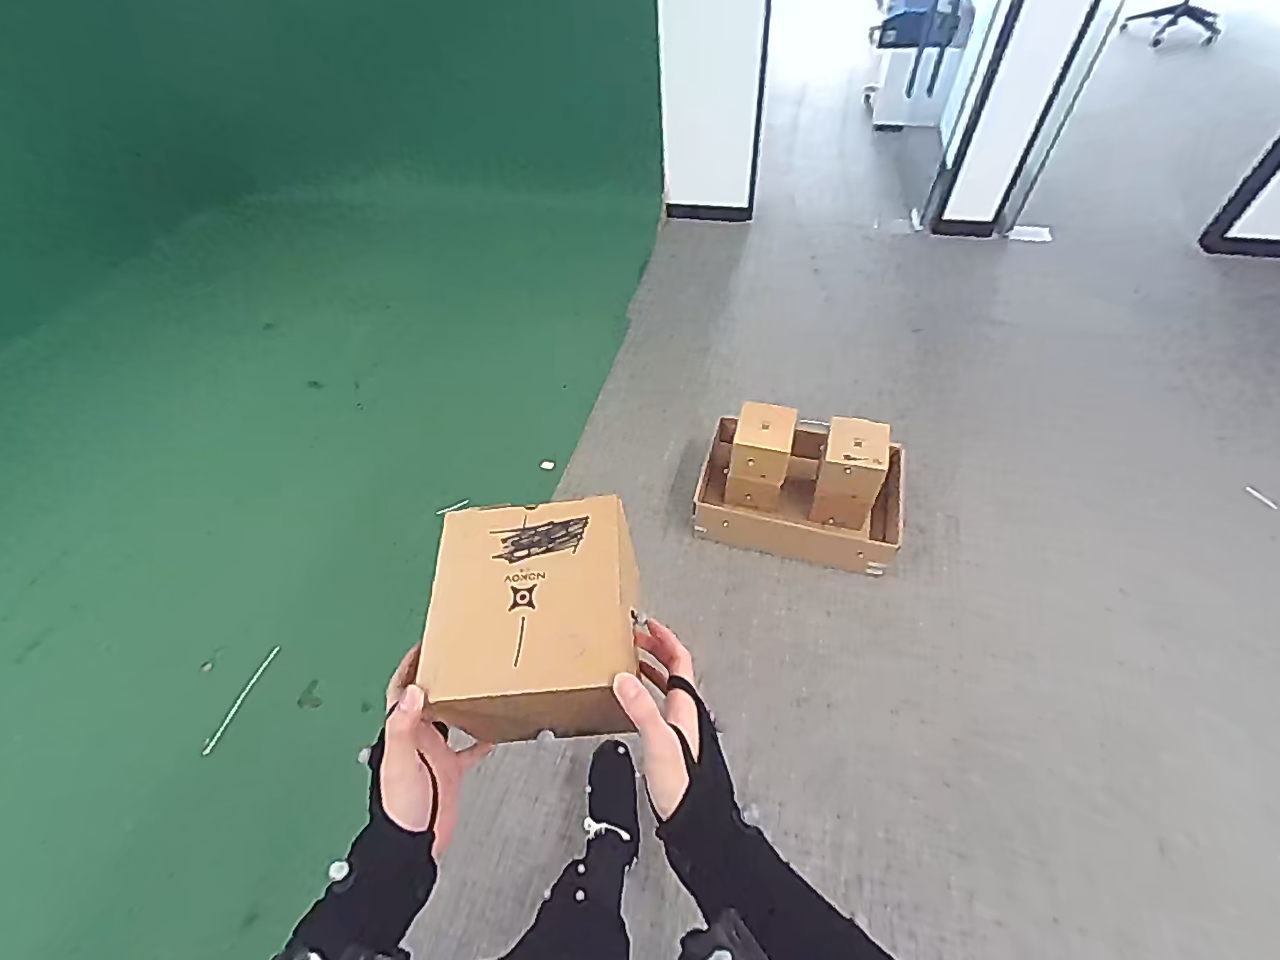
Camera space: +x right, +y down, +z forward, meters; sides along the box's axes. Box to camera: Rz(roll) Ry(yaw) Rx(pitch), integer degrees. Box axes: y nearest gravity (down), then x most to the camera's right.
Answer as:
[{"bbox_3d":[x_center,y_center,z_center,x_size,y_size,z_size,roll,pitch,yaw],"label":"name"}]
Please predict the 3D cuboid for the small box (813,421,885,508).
[{"bbox_3d":[0.616,-0.045,1.600,0.168,0.176,0.179,10,54,14],"label":"small box"}]

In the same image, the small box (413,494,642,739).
[{"bbox_3d":[-0.088,0.135,0.521,0.168,0.176,0.179,-5,54,3],"label":"small box"}]

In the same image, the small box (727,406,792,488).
[{"bbox_3d":[0.363,-0.099,1.660,0.168,0.176,0.179,11,55,12],"label":"small box"}]

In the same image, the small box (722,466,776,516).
[{"bbox_3d":[0.369,-0.004,1.790,0.168,0.176,0.179,12,55,12],"label":"small box"}]
